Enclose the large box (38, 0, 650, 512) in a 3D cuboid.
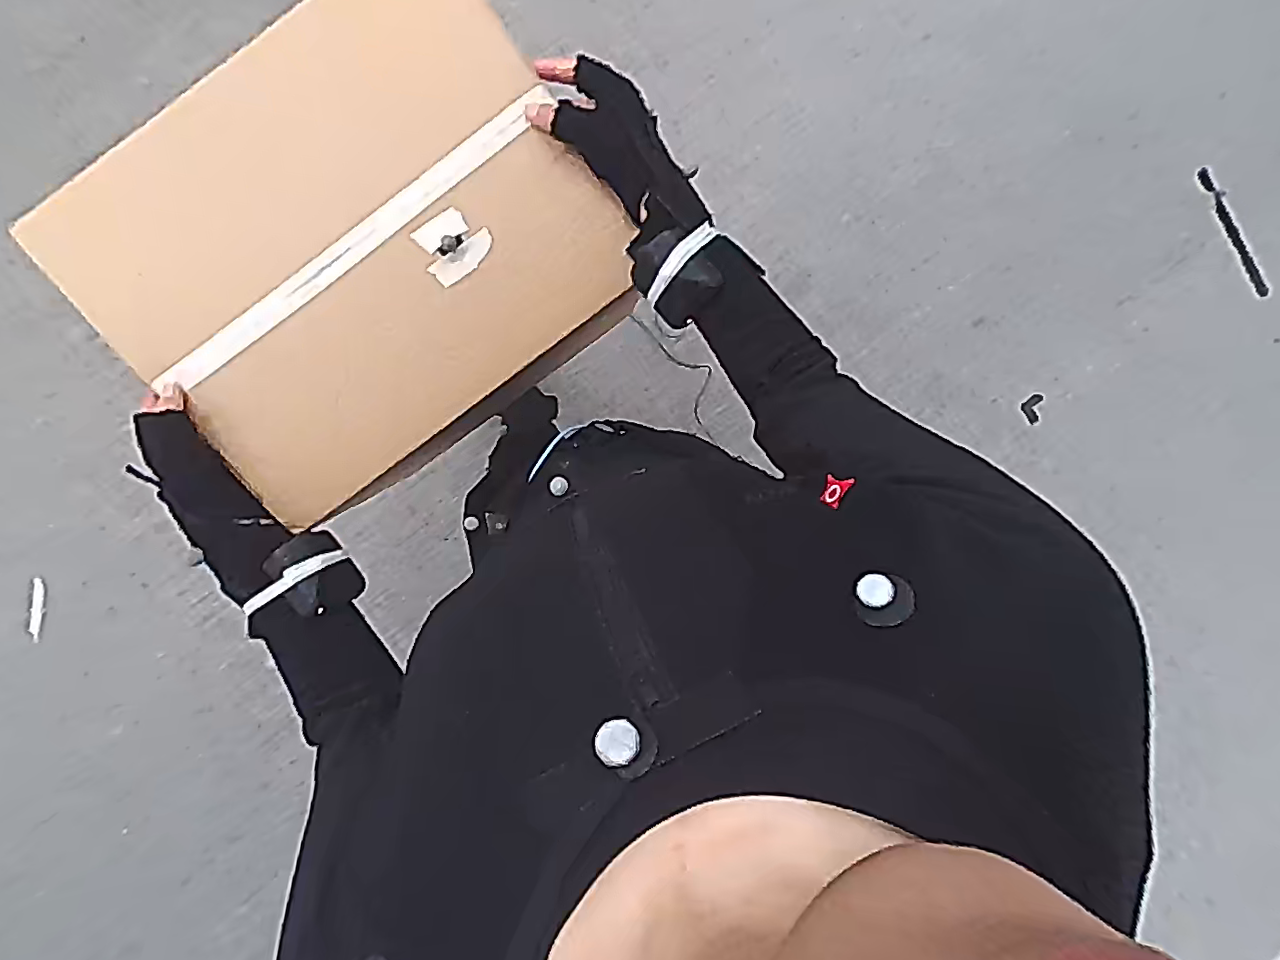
[{"bbox_3d":[-0.252,-0.228,0.600,0.408,0.320,0.320,-37,103,0],"label":"large box"}]
